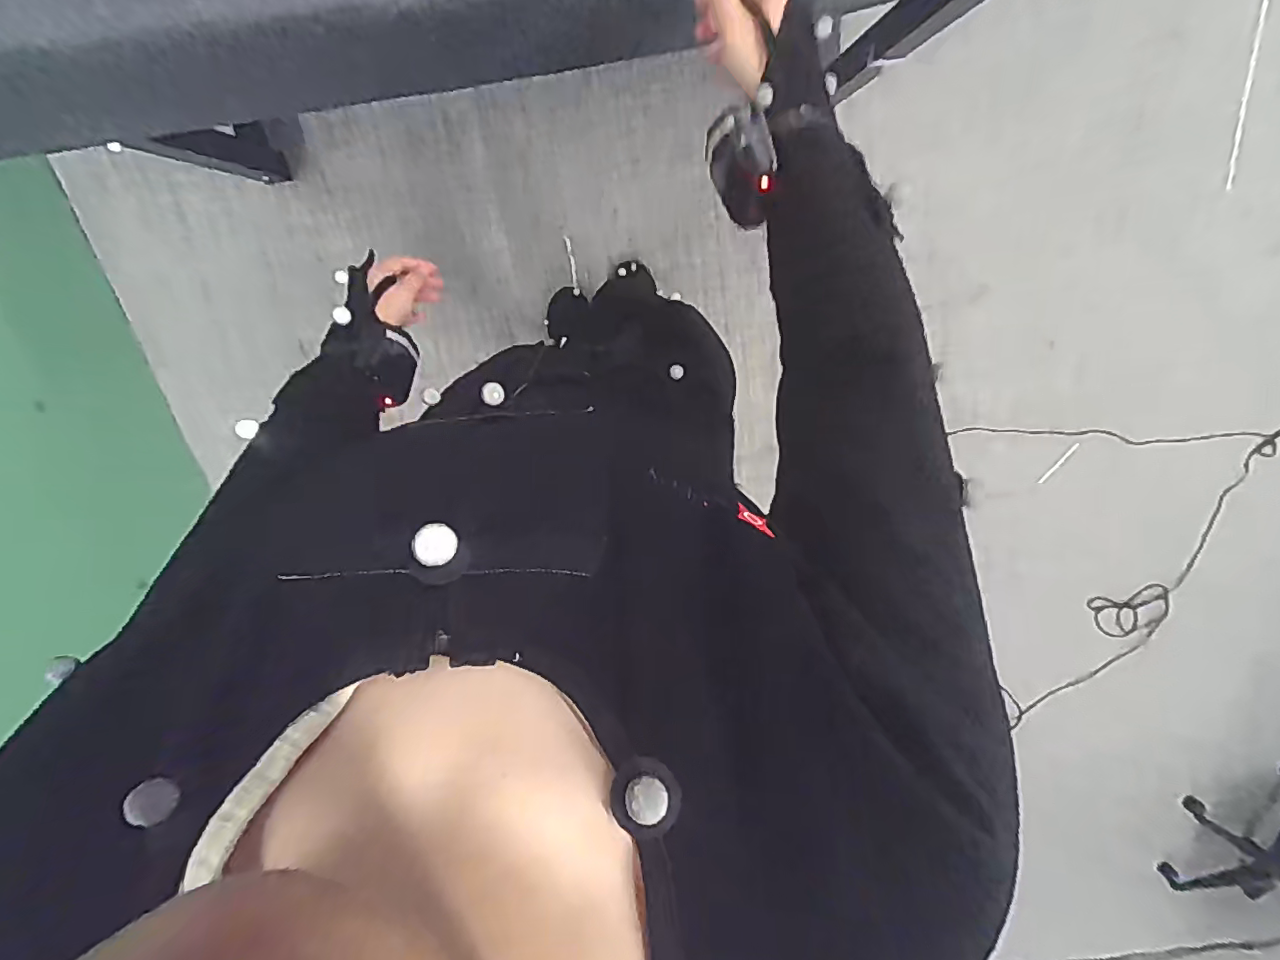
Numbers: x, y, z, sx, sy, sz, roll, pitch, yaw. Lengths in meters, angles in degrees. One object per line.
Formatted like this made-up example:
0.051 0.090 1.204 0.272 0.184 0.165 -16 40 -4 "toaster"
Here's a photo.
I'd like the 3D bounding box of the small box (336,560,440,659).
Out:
-0.642 0.330 1.412 0.179 0.176 0.168 -16 110 3 "small box"
